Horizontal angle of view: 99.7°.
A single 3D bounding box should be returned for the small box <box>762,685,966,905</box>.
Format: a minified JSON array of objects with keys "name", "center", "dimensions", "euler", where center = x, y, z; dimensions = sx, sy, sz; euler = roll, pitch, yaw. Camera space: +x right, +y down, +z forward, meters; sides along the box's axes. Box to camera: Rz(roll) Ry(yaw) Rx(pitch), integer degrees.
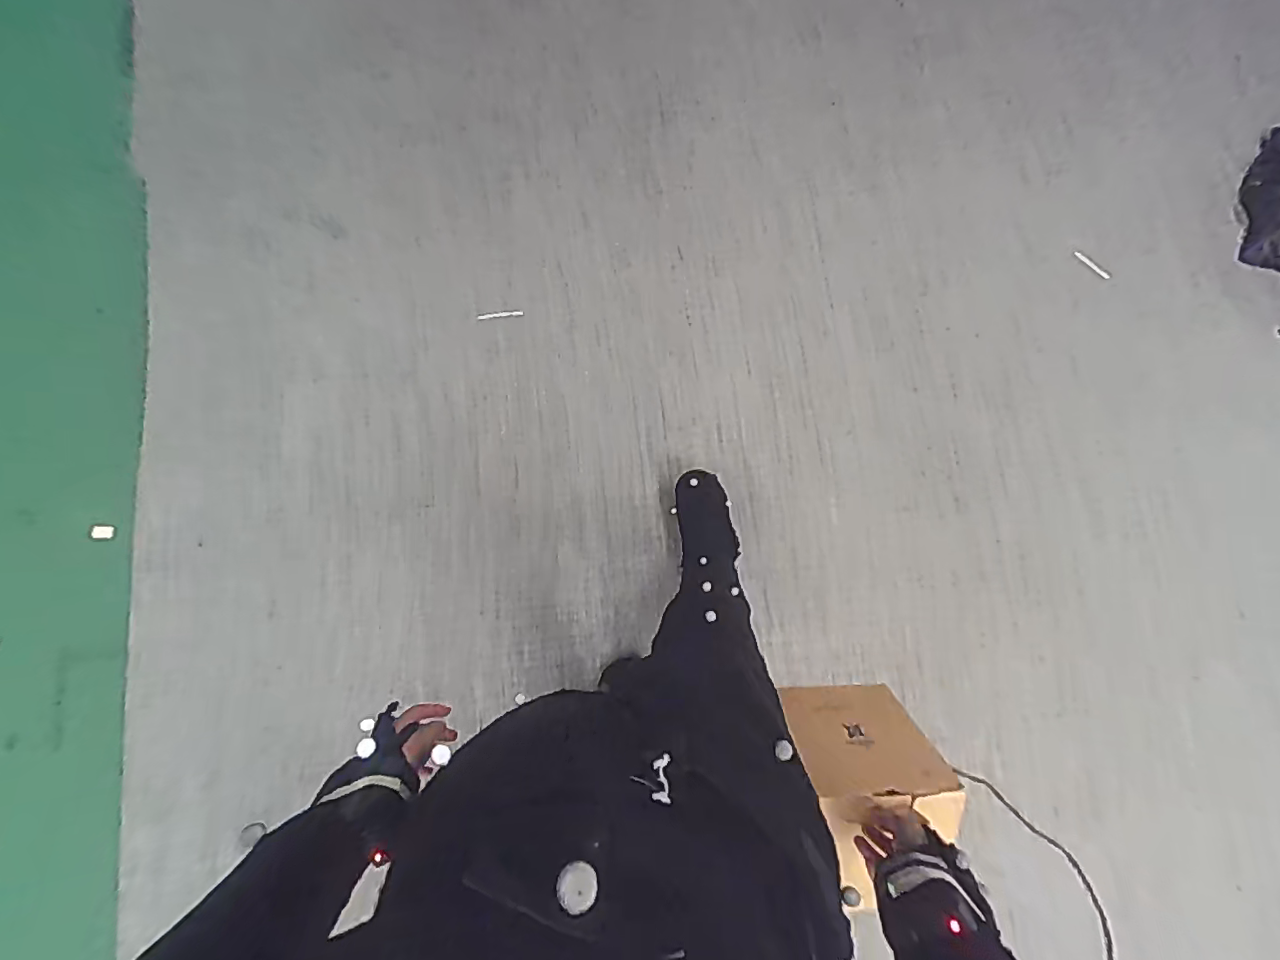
[{"name":"small box","center":[0.255,0.378,0.659],"dimensions":[0.168,0.179,0.176],"euler":[0,106,-4]}]
